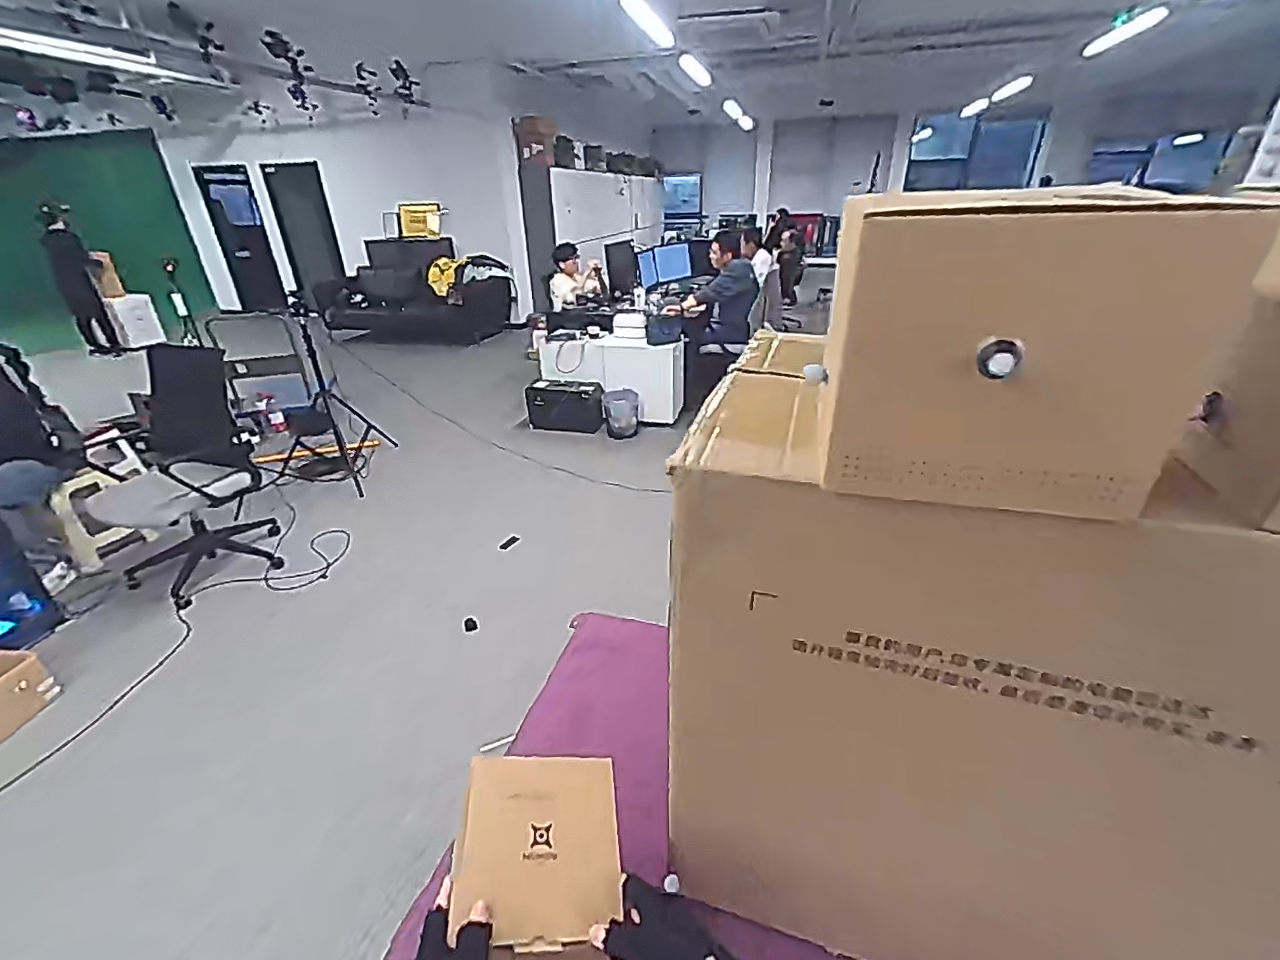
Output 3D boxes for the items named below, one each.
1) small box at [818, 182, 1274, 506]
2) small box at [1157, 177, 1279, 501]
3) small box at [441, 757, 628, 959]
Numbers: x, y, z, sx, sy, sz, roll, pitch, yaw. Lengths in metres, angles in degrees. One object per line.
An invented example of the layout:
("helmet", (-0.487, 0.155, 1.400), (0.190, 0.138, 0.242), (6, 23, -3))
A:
("small box", (0.221, -0.097, 0.362), (0.179, 0.176, 0.168), (5, 30, 16))
("small box", (0.445, -0.079, 0.310), (0.168, 0.176, 0.179), (8, 31, 18))
("small box", (-0.119, 0.435, 0.595), (0.168, 0.176, 0.179), (9, 32, -16))
